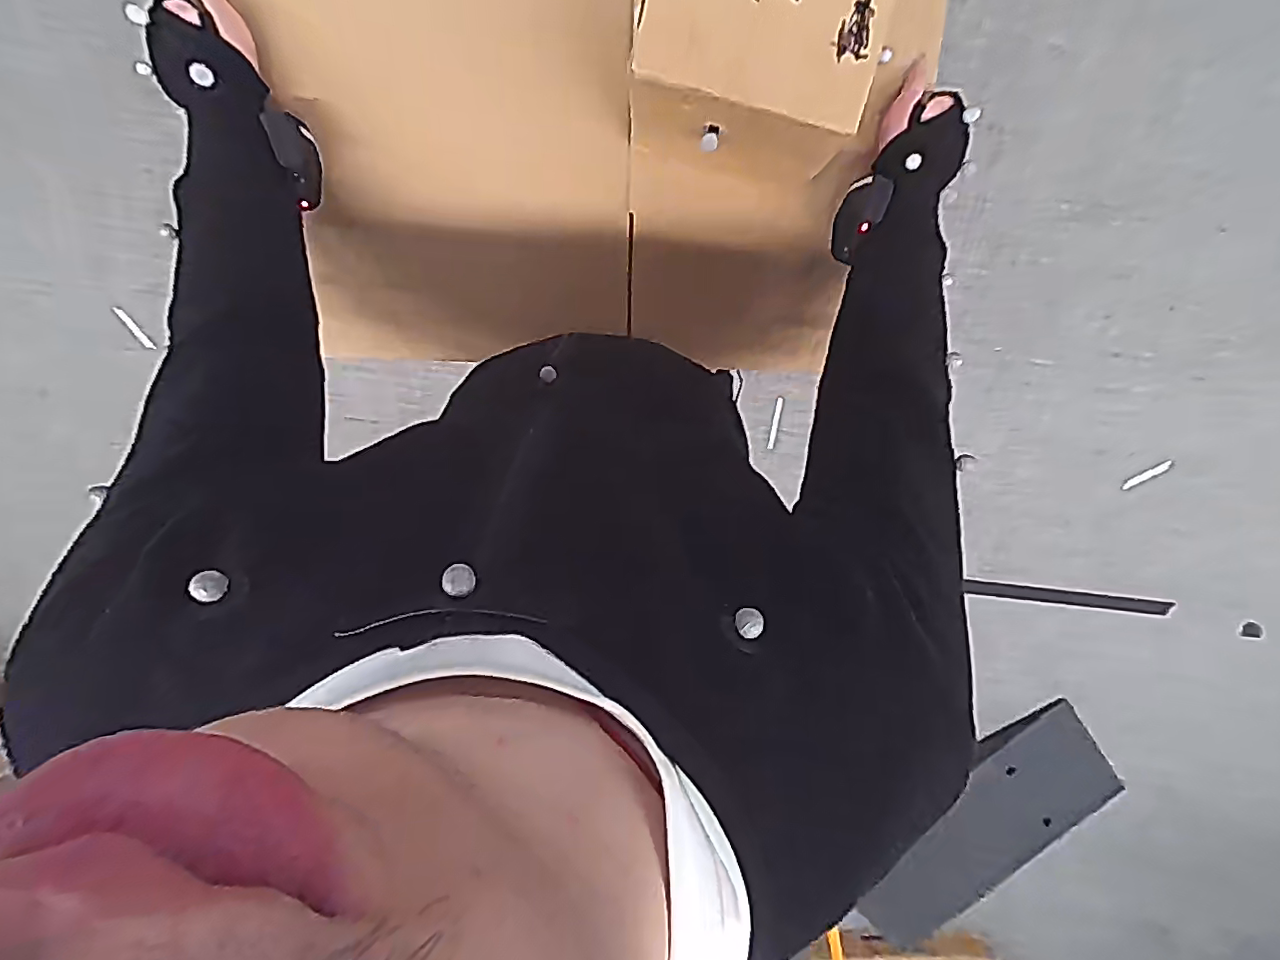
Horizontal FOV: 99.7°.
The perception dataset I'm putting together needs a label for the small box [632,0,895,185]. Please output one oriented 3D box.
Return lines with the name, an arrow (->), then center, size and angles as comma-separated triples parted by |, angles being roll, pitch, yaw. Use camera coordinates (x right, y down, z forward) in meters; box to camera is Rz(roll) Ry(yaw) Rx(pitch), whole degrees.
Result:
small box -> 0.100, -0.377, 0.461 | 0.179, 0.176, 0.168 | 14, 104, -1
